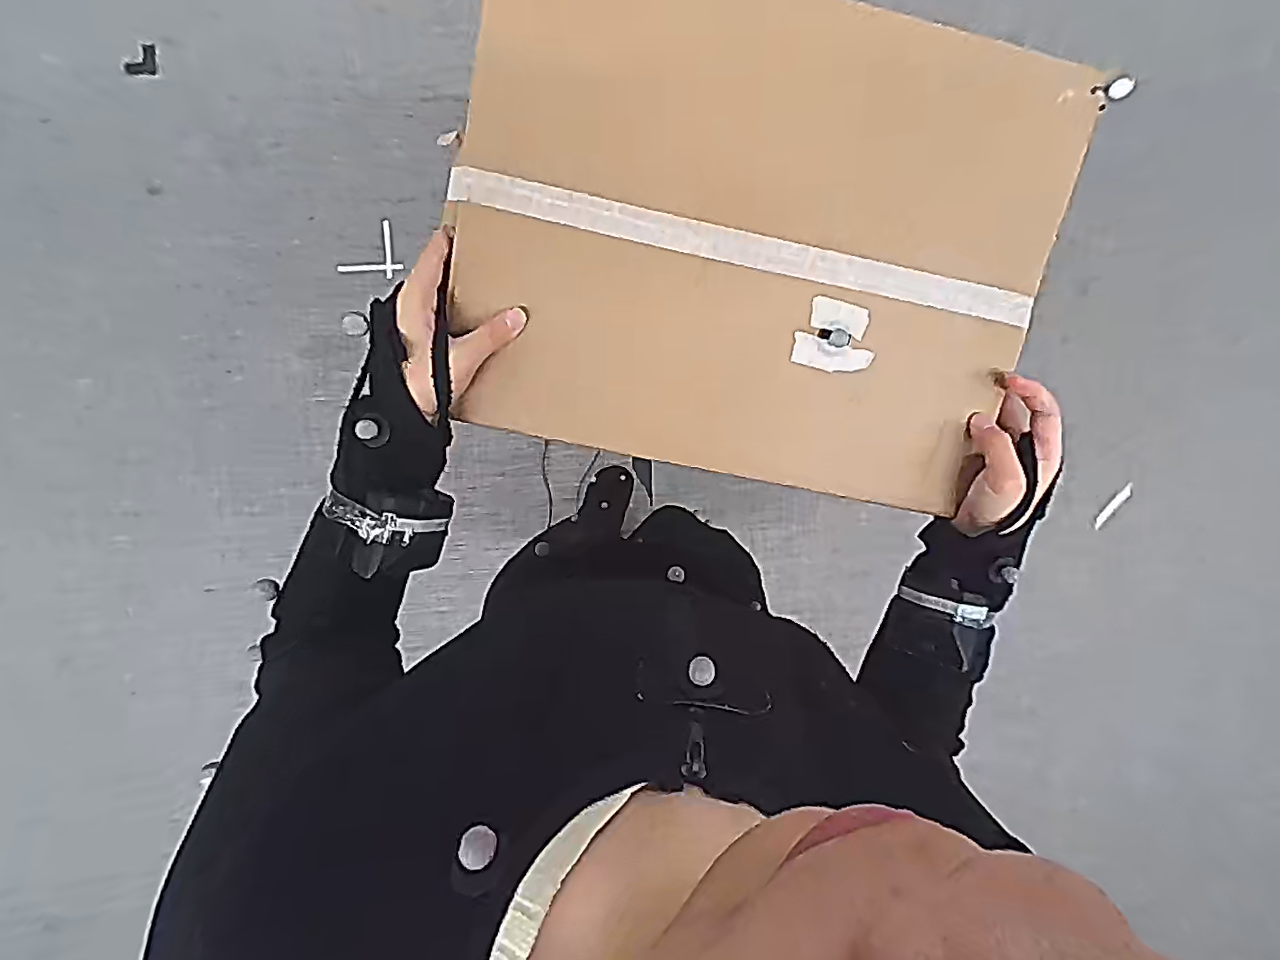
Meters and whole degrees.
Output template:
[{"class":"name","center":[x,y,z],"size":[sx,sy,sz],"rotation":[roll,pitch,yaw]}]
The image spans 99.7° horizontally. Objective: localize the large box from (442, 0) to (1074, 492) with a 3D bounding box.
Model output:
[{"class":"large box","center":[0.066,-0.199,0.523],"size":[0.408,0.320,0.320],"rotation":[10,103,-5]}]
